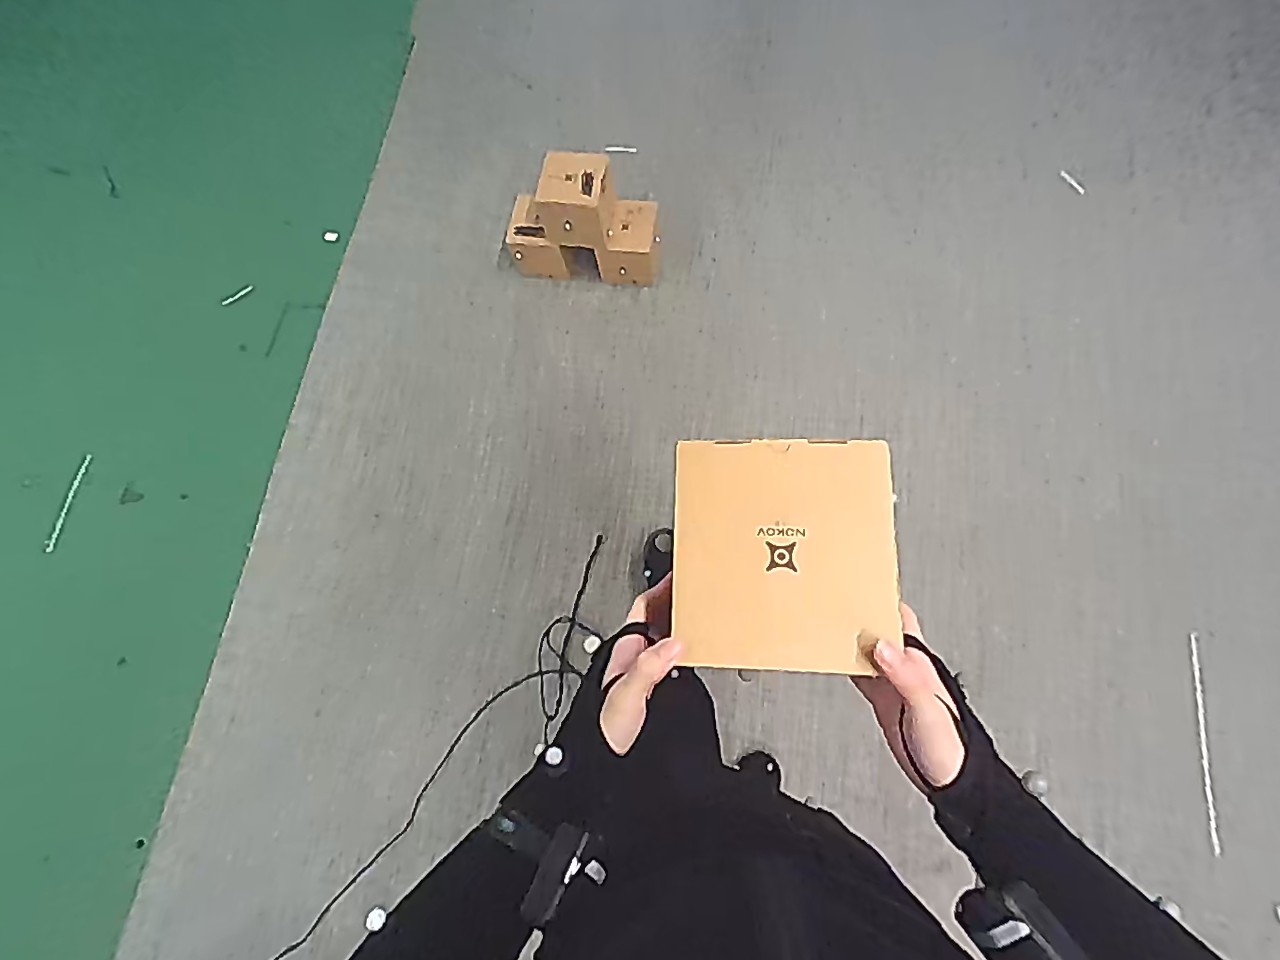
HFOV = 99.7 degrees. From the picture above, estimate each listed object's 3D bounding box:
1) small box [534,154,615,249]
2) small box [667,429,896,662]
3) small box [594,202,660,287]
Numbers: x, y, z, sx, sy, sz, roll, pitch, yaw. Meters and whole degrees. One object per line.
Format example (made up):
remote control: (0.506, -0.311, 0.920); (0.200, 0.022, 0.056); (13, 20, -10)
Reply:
small box: (-0.174, -0.770, 1.508); (0.179, 0.176, 0.168); (9, 76, 8)
small box: (0.116, 0.063, 0.488); (0.168, 0.176, 0.179); (0, 75, 8)
small box: (-0.034, -0.714, 1.651); (0.168, 0.176, 0.179); (7, 75, 7)
